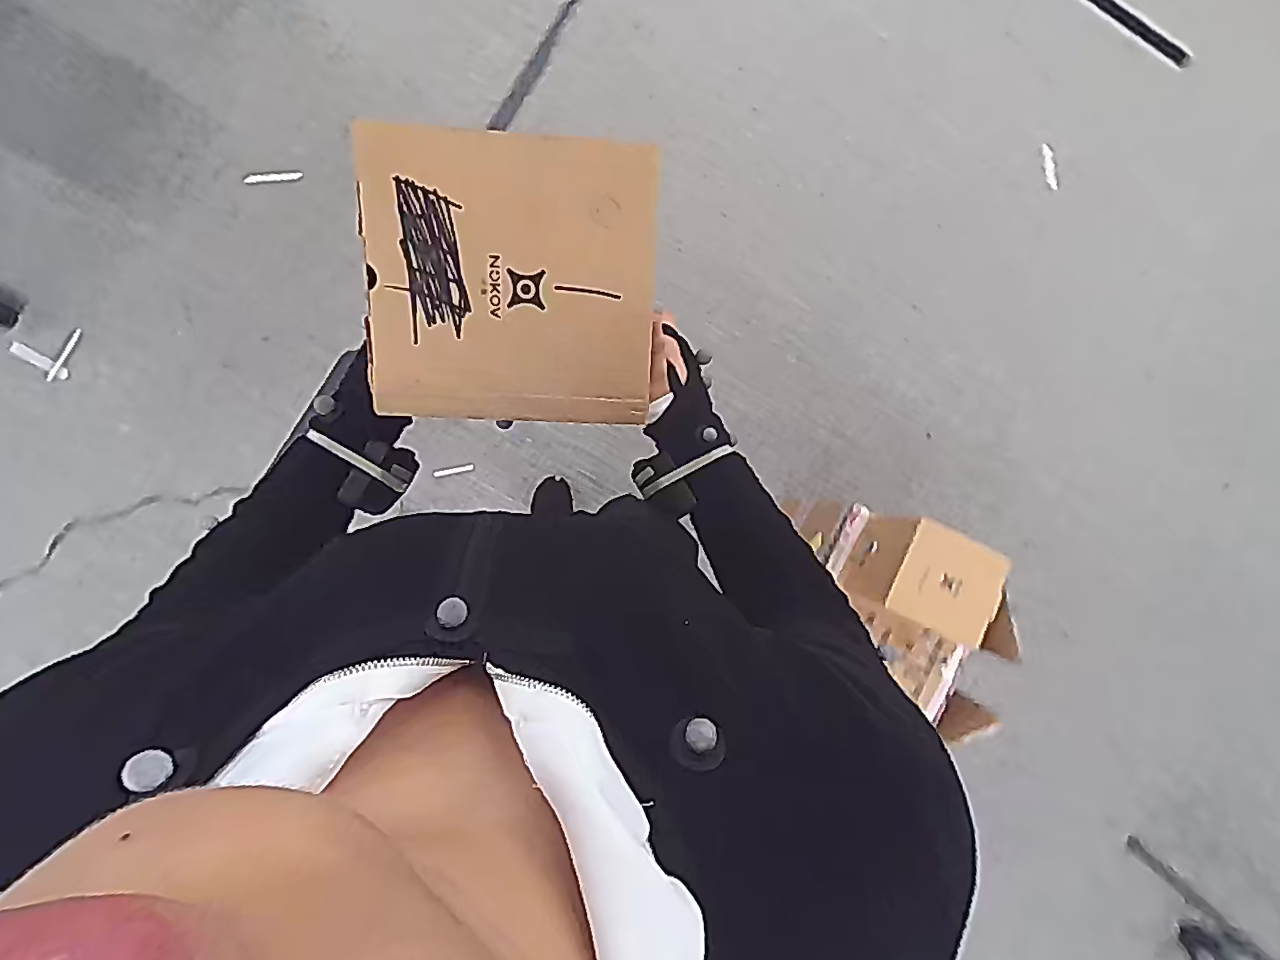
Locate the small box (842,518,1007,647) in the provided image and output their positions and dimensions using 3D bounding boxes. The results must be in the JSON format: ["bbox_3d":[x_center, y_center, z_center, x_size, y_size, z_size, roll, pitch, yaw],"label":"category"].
[{"bbox_3d":[0.505,0.174,0.985,0.179,0.176,0.168,26,86,0],"label":"small box"}]

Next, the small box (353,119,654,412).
[{"bbox_3d":[-0.087,-0.147,0.412,0.179,0.176,0.168,1,106,-5],"label":"small box"}]
